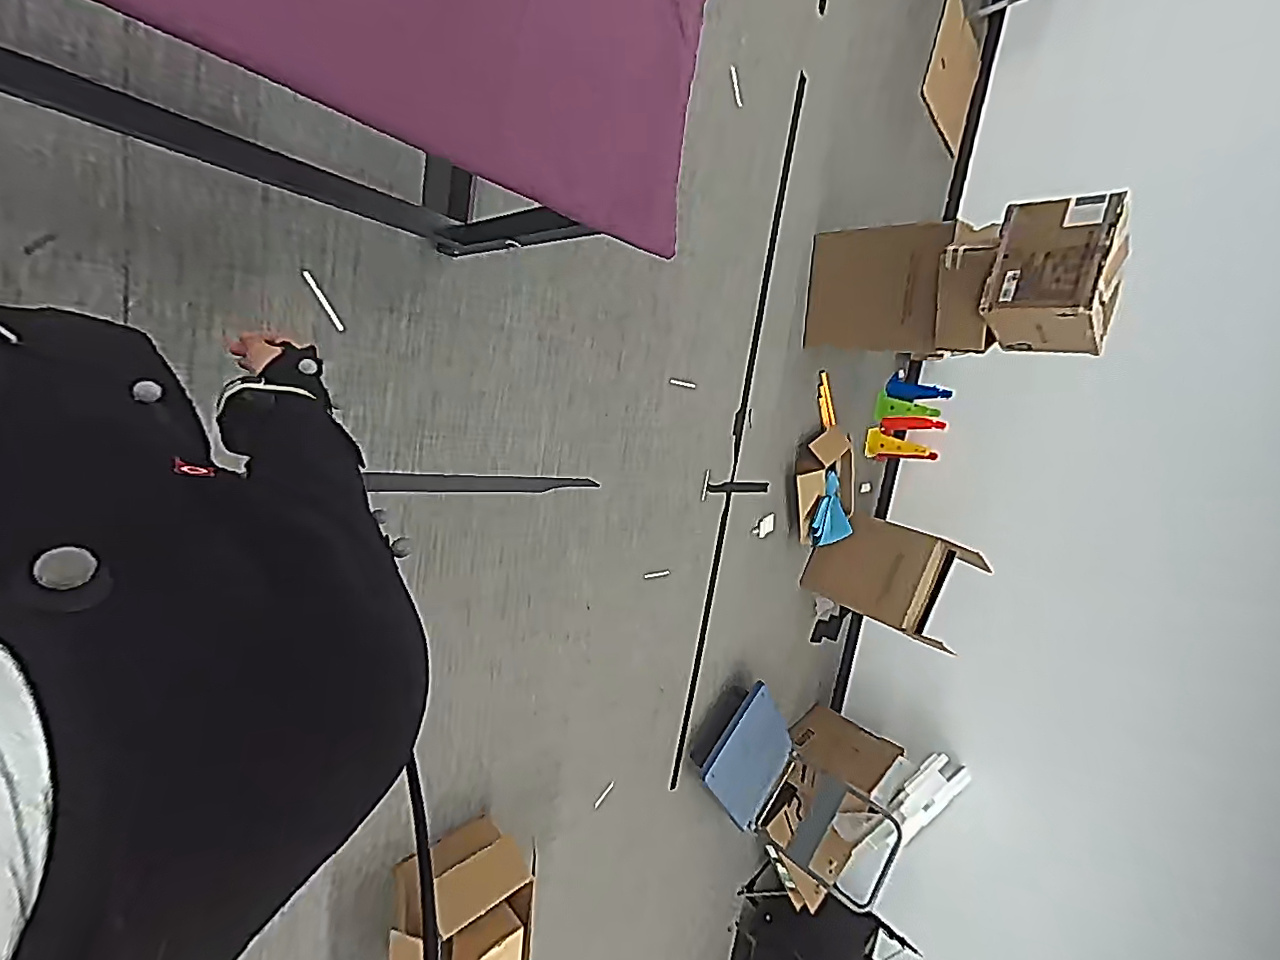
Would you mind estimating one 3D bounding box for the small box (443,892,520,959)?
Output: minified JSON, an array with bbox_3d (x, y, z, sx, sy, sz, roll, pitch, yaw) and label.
[{"bbox_3d":[-0.490,1.430,1.656,0.168,0.176,0.179,-4,105,-46],"label":"small box"}]
